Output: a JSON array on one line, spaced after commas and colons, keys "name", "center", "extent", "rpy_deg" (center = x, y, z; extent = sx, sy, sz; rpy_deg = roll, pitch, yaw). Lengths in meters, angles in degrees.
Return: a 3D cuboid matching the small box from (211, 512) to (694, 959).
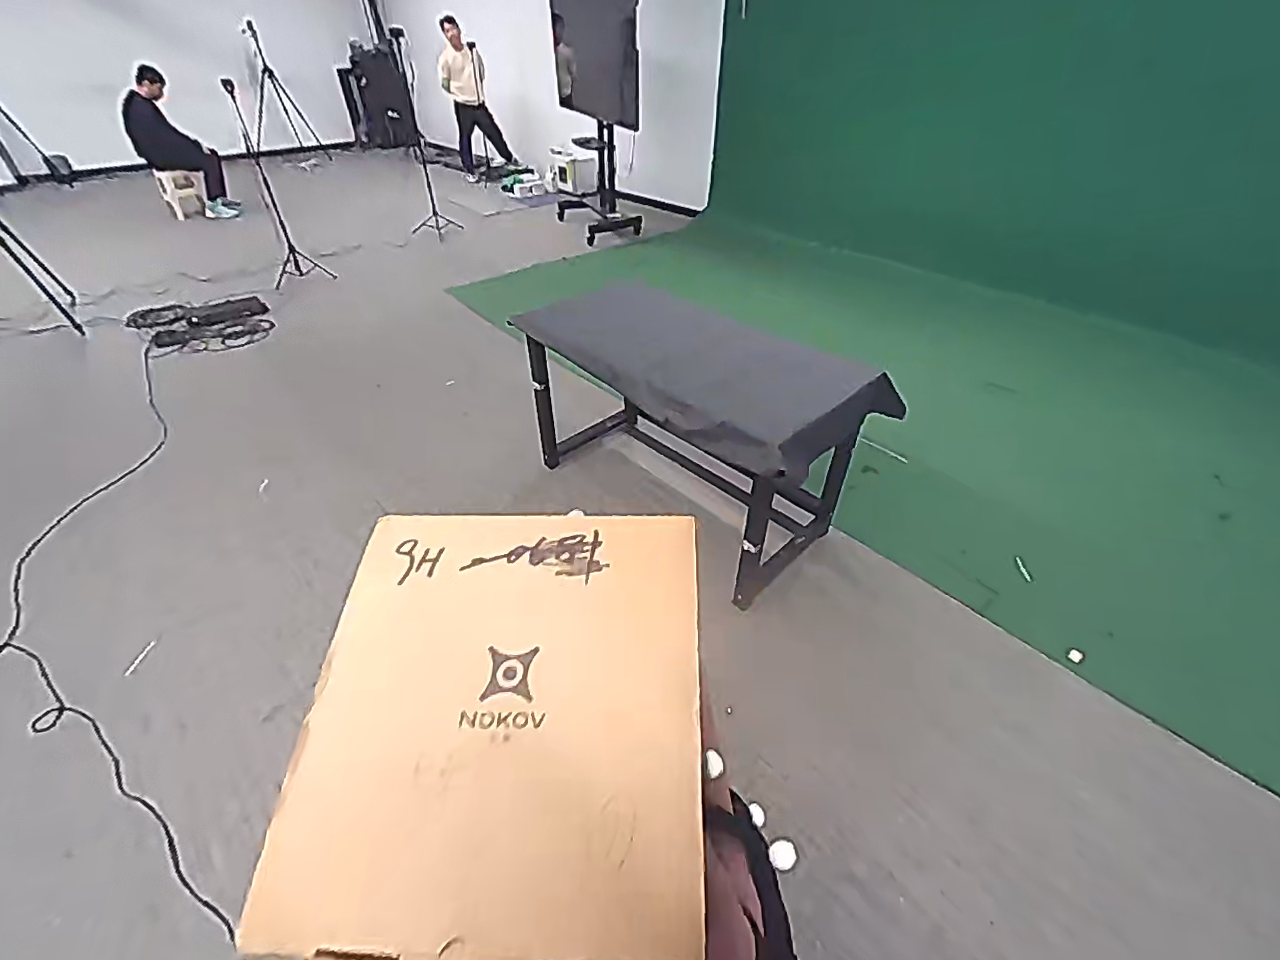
[{"name": "small box", "center": [-0.057, 0.133, 0.286], "extent": [0.168, 0.176, 0.179], "rpy_deg": [1, 58, 2]}]
